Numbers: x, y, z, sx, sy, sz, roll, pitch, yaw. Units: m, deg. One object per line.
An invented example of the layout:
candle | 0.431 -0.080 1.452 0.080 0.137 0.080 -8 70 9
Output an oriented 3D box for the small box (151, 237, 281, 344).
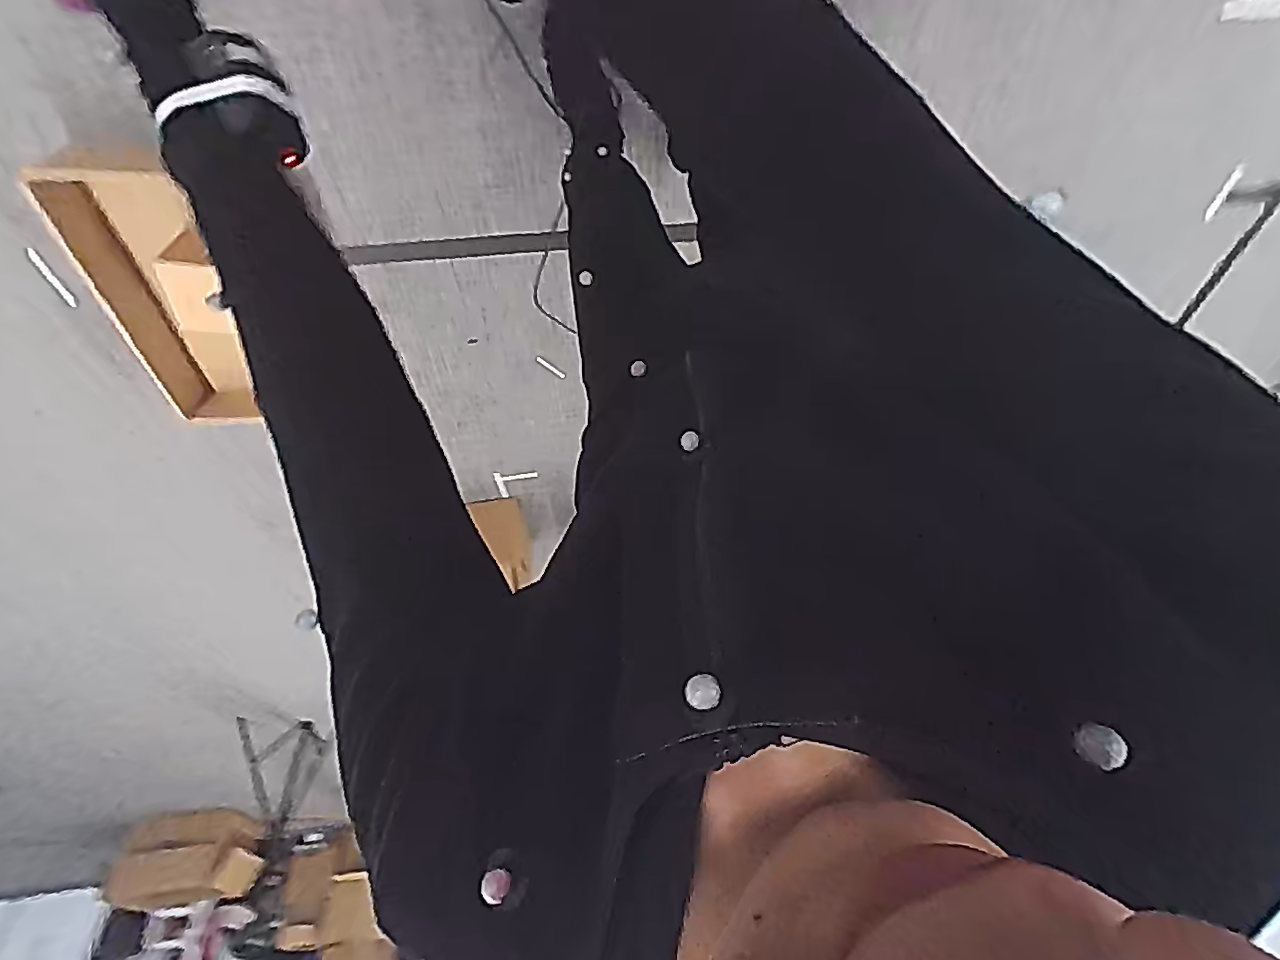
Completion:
small box | -0.955 -0.437 1.244 0.179 0.176 0.168 2 136 -14
